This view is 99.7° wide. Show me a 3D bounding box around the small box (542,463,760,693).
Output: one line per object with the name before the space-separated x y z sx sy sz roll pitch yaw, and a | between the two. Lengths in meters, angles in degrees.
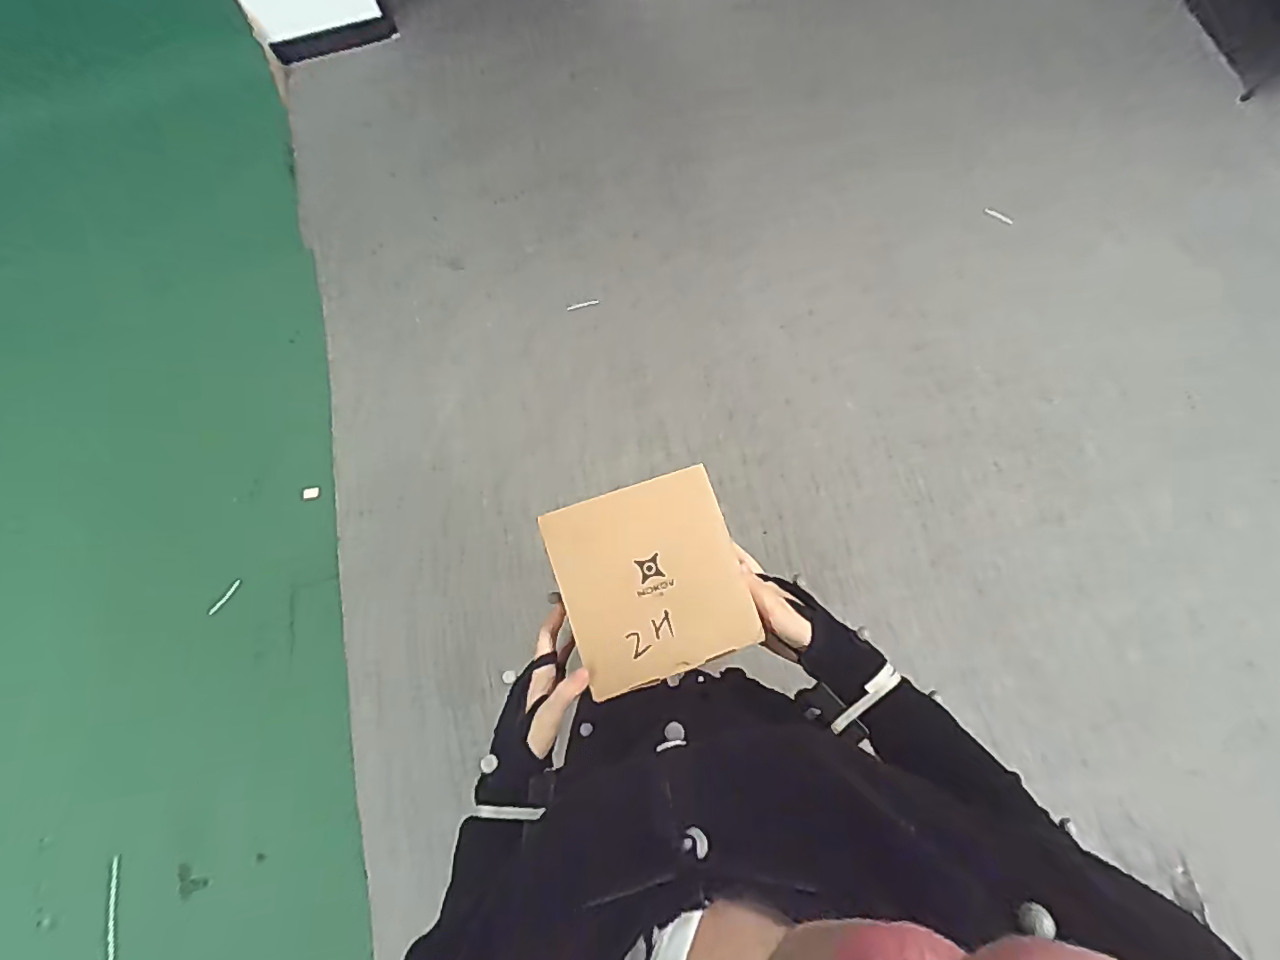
small box | 0.002 0.099 0.578 0.168 0.176 0.179 -17 83 -7
